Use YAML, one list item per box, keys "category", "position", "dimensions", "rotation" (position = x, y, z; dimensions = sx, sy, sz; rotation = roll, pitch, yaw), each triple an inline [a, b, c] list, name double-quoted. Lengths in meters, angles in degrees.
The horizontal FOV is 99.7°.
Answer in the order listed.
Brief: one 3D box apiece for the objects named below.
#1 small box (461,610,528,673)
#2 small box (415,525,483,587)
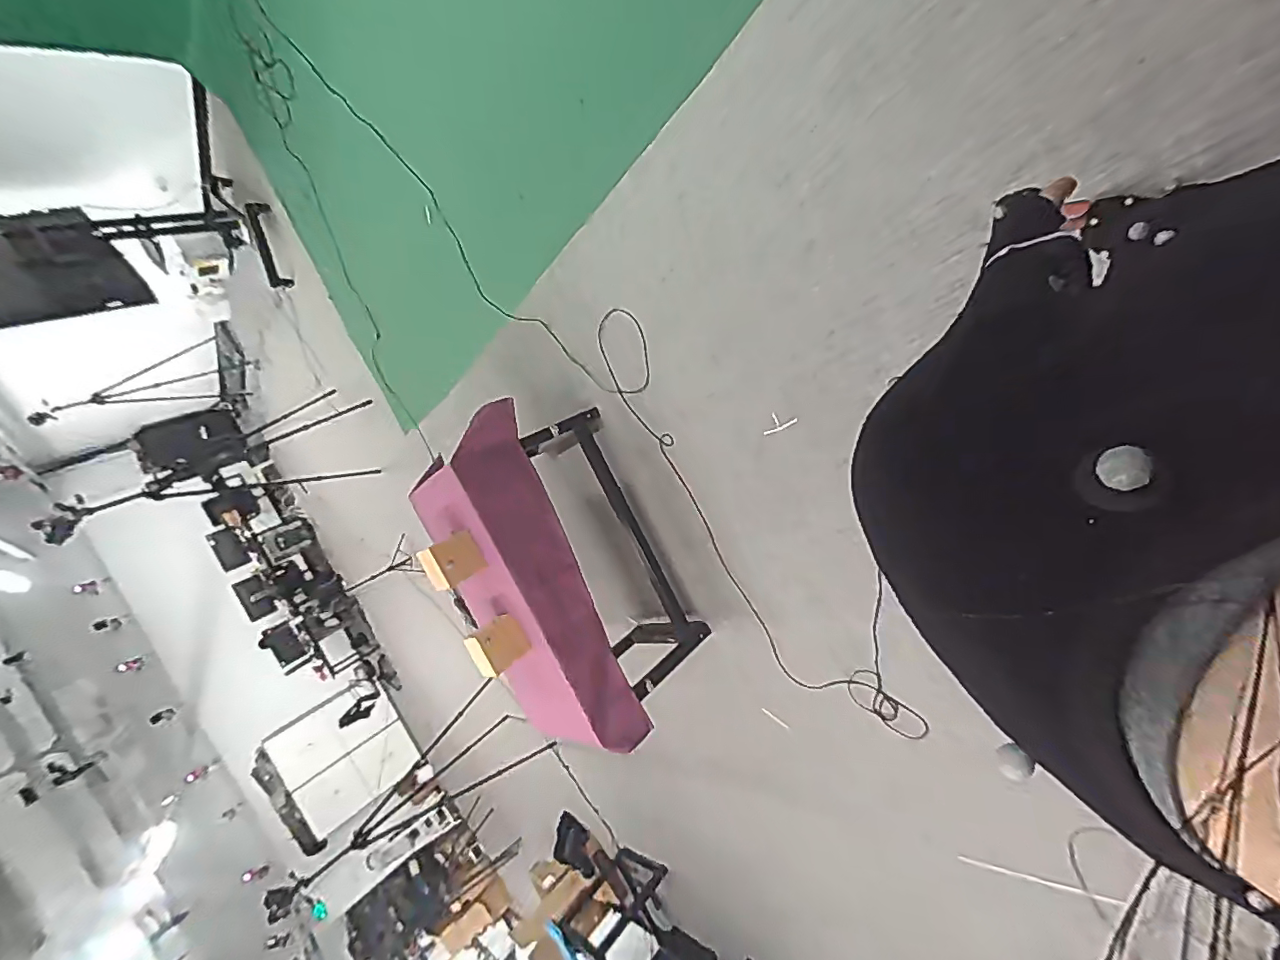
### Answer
- category: "small box"
  position: [-0.574, 0.641, 2.145]
  dimensions: [0.168, 0.176, 0.179]
  rotation: [-27, 91, 51]
- category: "small box"
  position: [-0.739, 0.296, 2.104]
  dimensions: [0.168, 0.176, 0.179]
  rotation: [-20, 97, 50]
